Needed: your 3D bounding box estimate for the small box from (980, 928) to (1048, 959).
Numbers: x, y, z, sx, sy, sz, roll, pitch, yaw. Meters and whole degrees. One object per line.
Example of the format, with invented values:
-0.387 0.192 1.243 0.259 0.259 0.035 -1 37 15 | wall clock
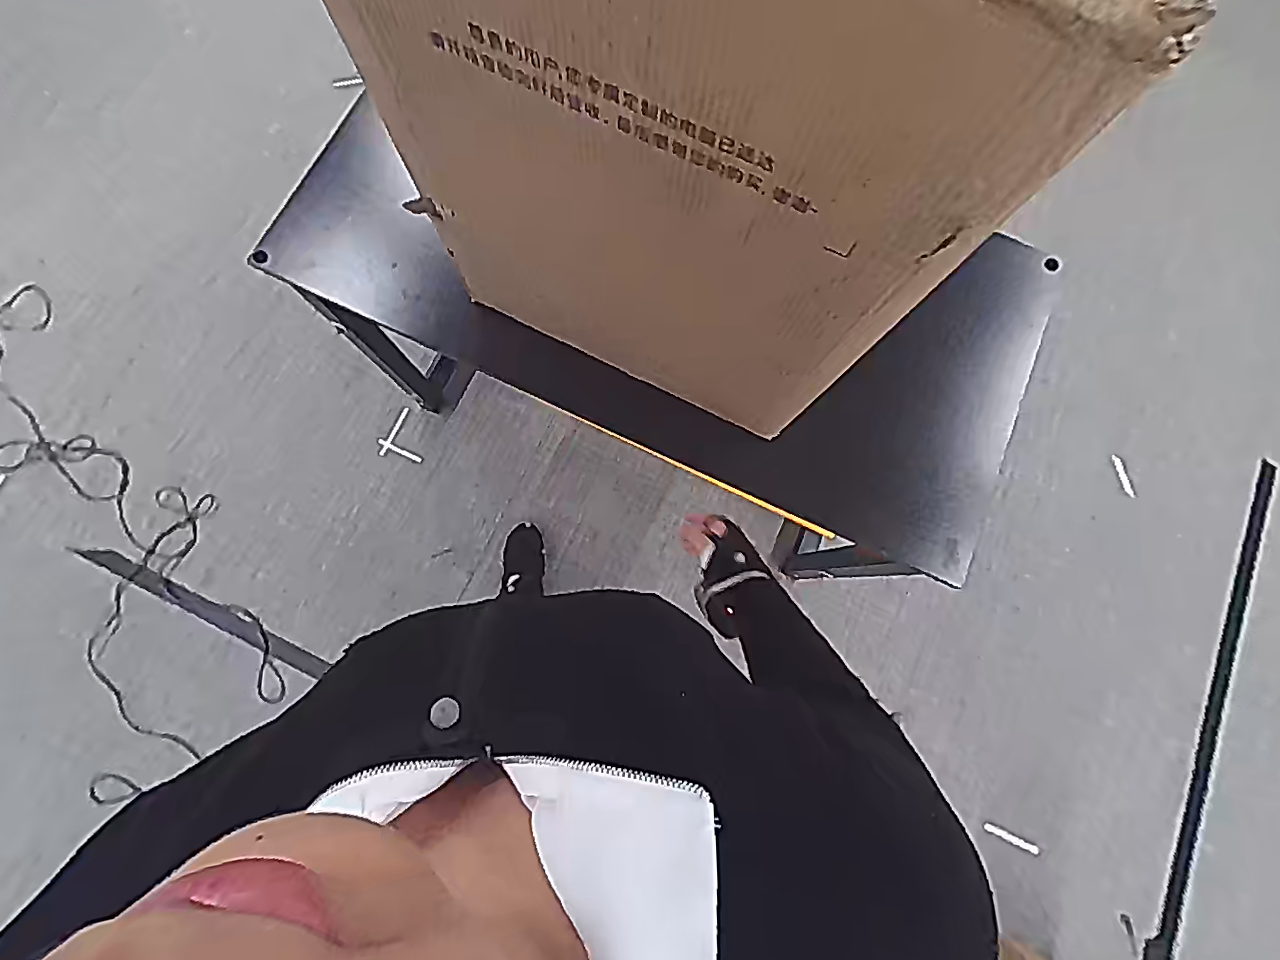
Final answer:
0.935 1.238 1.291 0.168 0.176 0.179 29 80 3 | small box
